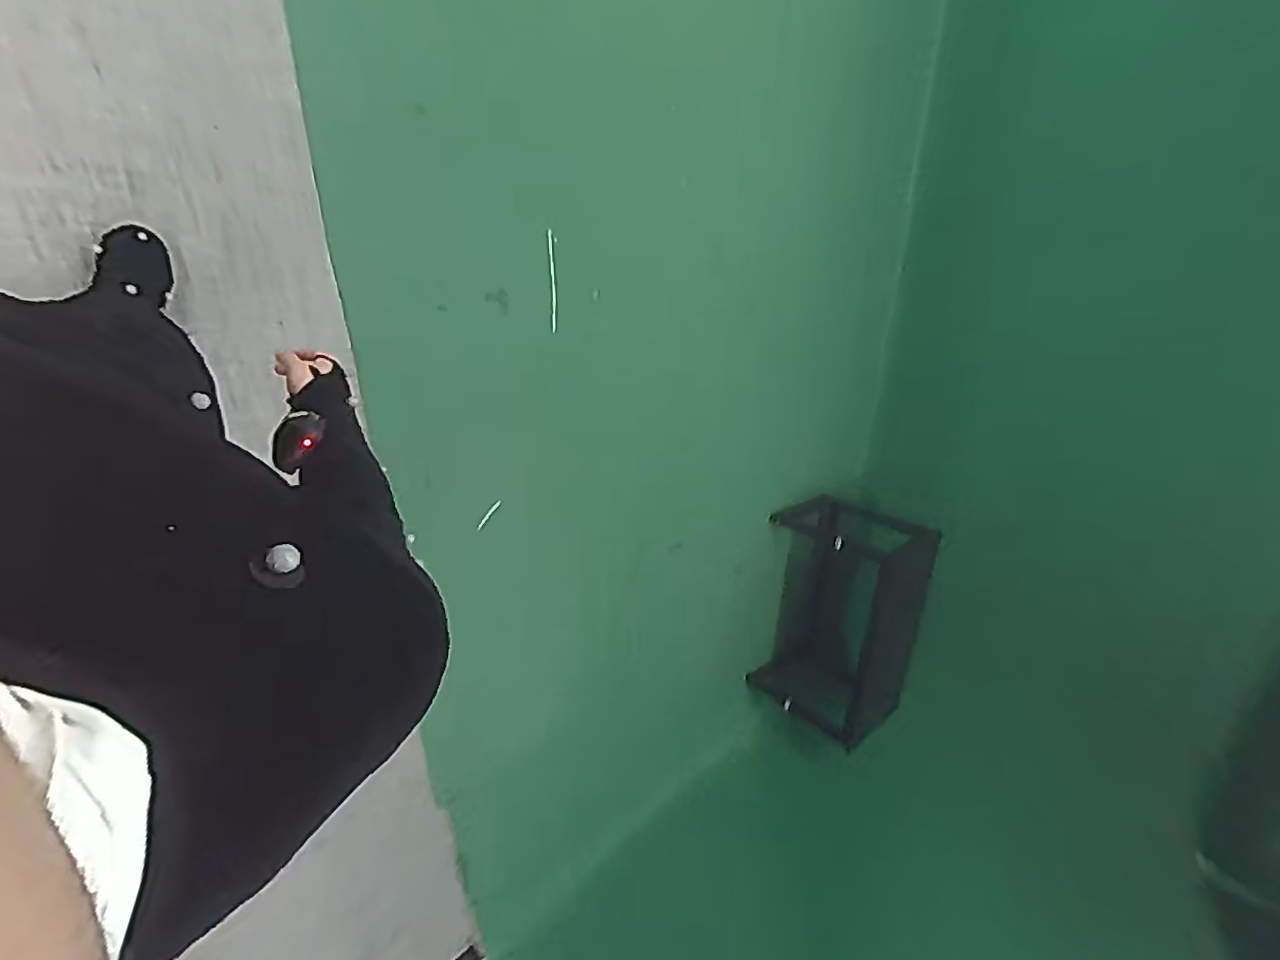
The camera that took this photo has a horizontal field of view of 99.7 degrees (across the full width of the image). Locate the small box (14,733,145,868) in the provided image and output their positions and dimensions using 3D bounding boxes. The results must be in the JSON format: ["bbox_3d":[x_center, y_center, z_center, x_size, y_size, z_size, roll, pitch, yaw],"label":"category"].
[{"bbox_3d":[-1.308,0.746,1.278,0.168,0.176,0.179,-23,121,-35],"label":"small box"}]
